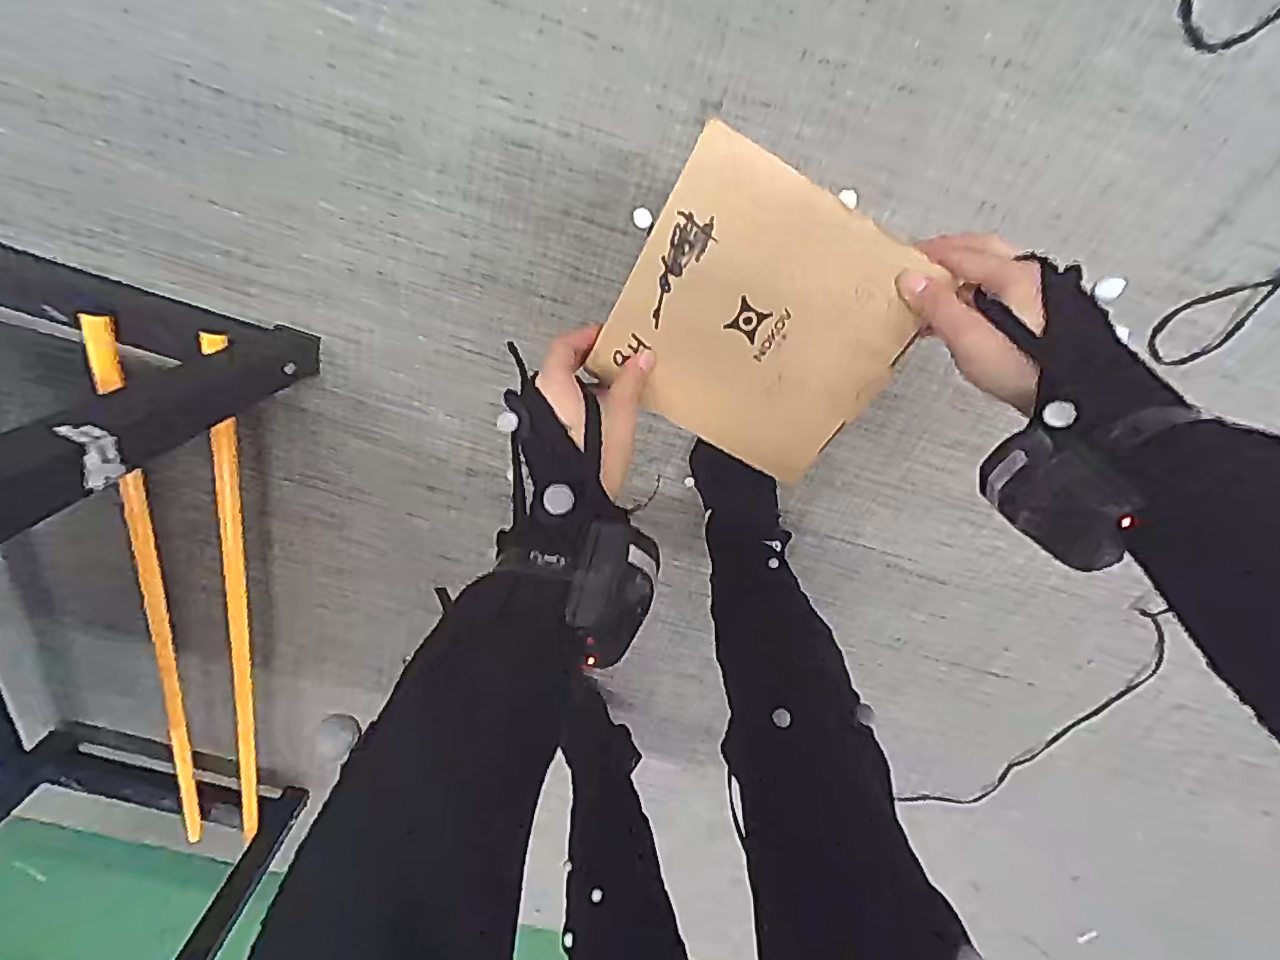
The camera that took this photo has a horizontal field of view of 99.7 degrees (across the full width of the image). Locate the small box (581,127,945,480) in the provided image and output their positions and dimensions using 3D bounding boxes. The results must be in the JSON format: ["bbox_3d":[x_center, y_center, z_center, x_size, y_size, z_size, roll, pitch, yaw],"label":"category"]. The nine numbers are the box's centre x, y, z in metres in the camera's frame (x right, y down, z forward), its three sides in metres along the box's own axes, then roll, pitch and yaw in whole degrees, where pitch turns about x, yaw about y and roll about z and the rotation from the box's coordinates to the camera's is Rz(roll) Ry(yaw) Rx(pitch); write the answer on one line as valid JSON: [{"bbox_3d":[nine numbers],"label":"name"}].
[{"bbox_3d":[0.079,-0.136,0.415,0.179,0.176,0.168,27,117,-9],"label":"small box"}]
